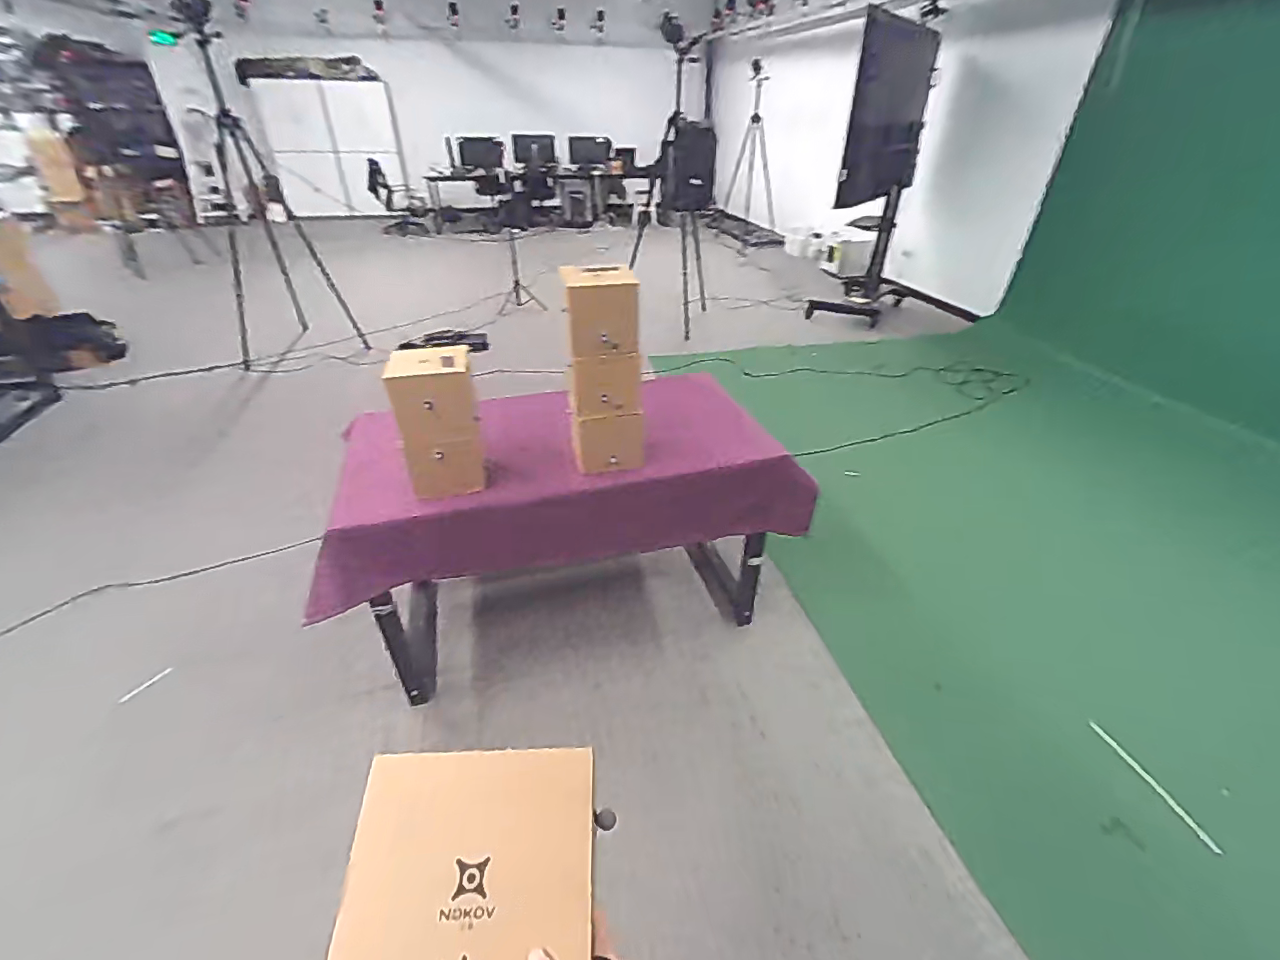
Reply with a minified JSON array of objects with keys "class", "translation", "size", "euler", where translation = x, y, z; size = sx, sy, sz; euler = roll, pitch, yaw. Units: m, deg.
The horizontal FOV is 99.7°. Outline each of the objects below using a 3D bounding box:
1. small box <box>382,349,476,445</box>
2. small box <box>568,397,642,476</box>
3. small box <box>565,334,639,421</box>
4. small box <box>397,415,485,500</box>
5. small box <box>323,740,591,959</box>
[{"class":"small box","translation":[-0.496,-0.200,1.299],"size":[0.179,0.176,0.168],"euler":[-9,36,-11]},{"class":"small box","translation":[-0.099,-0.128,1.490],"size":[0.179,0.176,0.168],"euler":[-7,34,-13]},{"class":"small box","translation":[-0.102,-0.268,1.407],"size":[0.168,0.176,0.179],"euler":[-8,36,-12]},{"class":"small box","translation":[-0.503,-0.062,1.388],"size":[0.179,0.176,0.168],"euler":[-7,35,-12]},{"class":"small box","translation":[-0.125,0.321,0.432],"size":[0.168,0.176,0.179],"euler":[0,54,-4]}]
